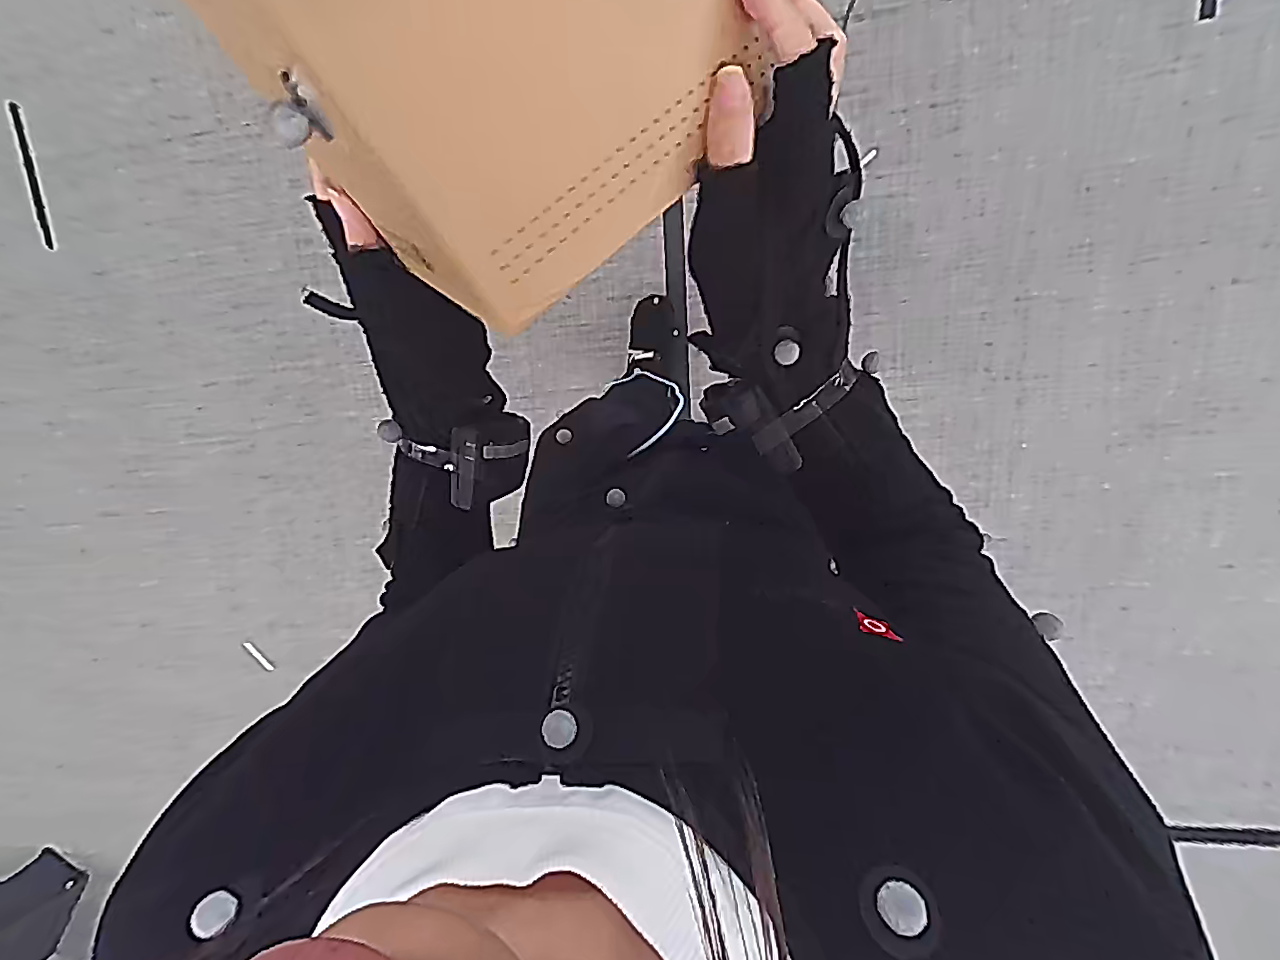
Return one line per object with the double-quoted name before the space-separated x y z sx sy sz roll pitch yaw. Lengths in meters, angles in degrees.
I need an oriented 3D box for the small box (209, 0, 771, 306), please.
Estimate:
"small box" -0.063 -0.208 0.243 0.179 0.176 0.168 -45 49 -12
